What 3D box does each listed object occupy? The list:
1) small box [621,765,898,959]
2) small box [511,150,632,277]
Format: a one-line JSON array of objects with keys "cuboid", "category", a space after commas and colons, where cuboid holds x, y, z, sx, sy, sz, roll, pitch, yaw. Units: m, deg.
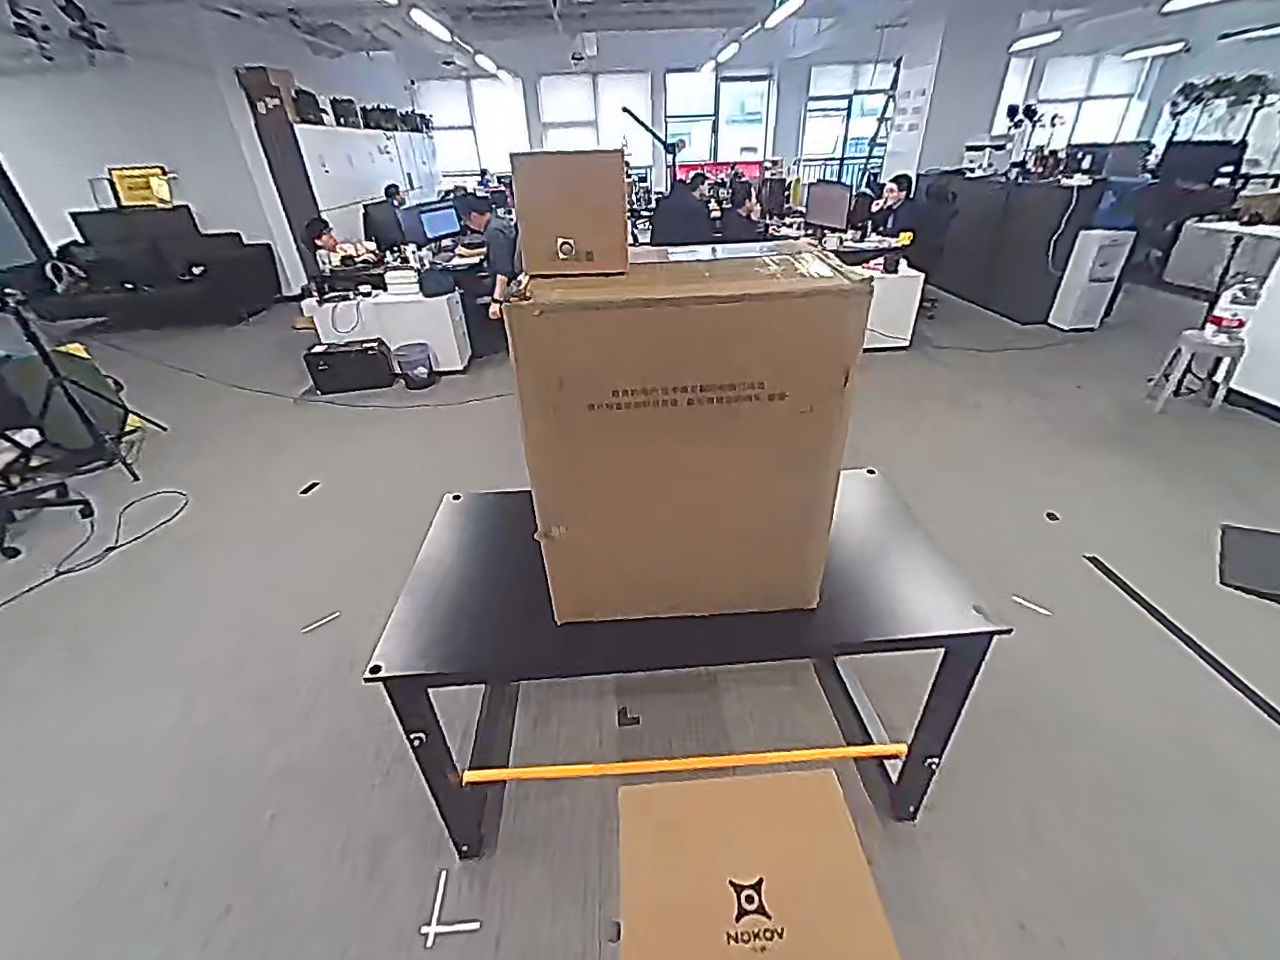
[{"cuboid": [0.074, 0.337, 0.384, 0.168, 0.176, 0.179, -5, 33, 1], "category": "small box"}, {"cuboid": [-0.101, -0.427, 0.866, 0.168, 0.176, 0.179, -3, 31, -1], "category": "small box"}]
